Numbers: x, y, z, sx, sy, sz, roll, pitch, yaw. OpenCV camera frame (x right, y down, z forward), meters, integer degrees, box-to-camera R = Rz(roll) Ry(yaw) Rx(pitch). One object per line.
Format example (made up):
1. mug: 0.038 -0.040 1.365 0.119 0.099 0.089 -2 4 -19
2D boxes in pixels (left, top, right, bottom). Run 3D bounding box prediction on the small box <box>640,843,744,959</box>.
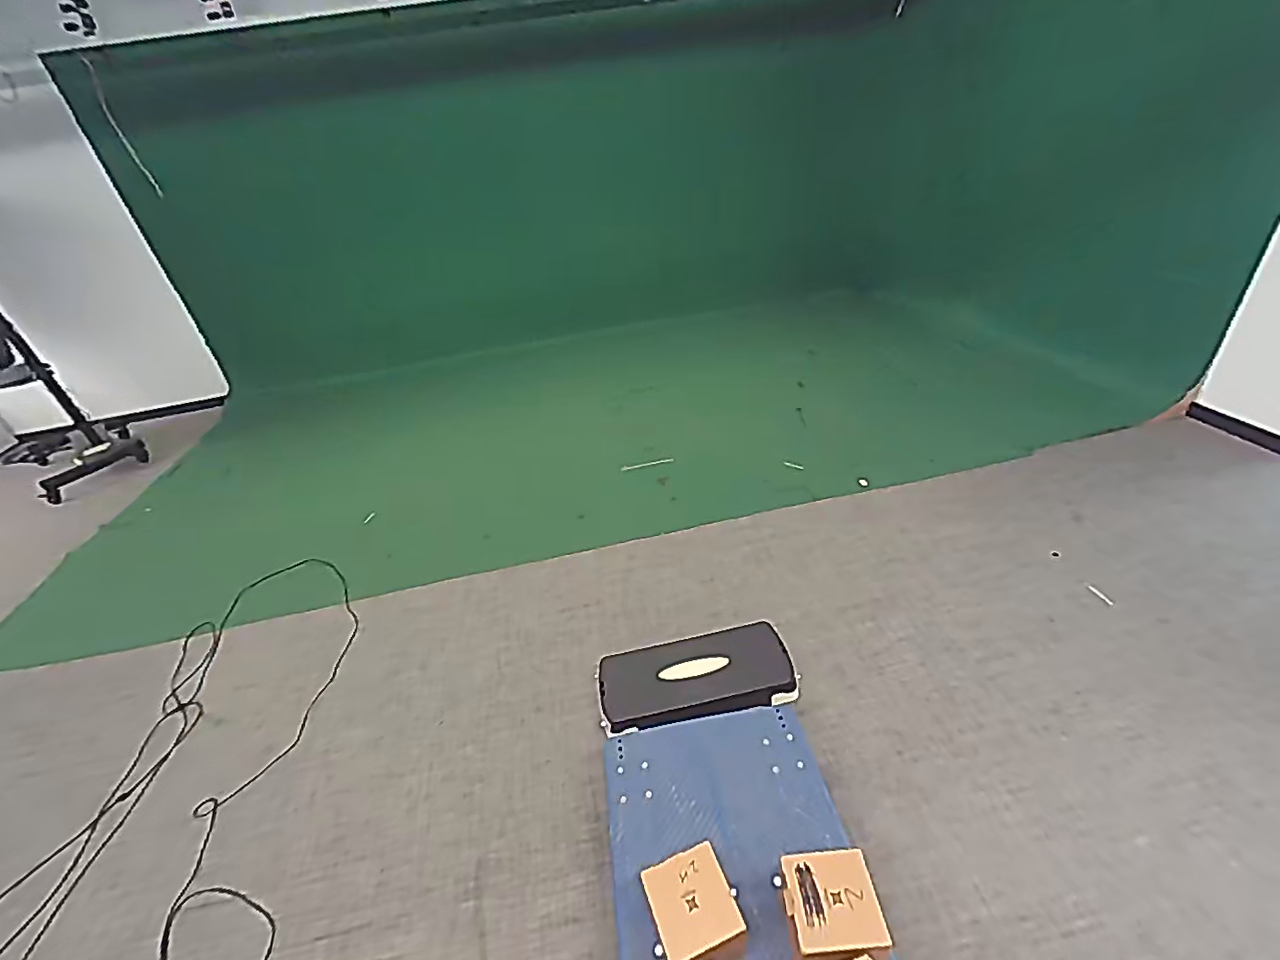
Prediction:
1. small box: 0.111 0.931 1.153 0.168 0.176 0.179 -16 34 -13
